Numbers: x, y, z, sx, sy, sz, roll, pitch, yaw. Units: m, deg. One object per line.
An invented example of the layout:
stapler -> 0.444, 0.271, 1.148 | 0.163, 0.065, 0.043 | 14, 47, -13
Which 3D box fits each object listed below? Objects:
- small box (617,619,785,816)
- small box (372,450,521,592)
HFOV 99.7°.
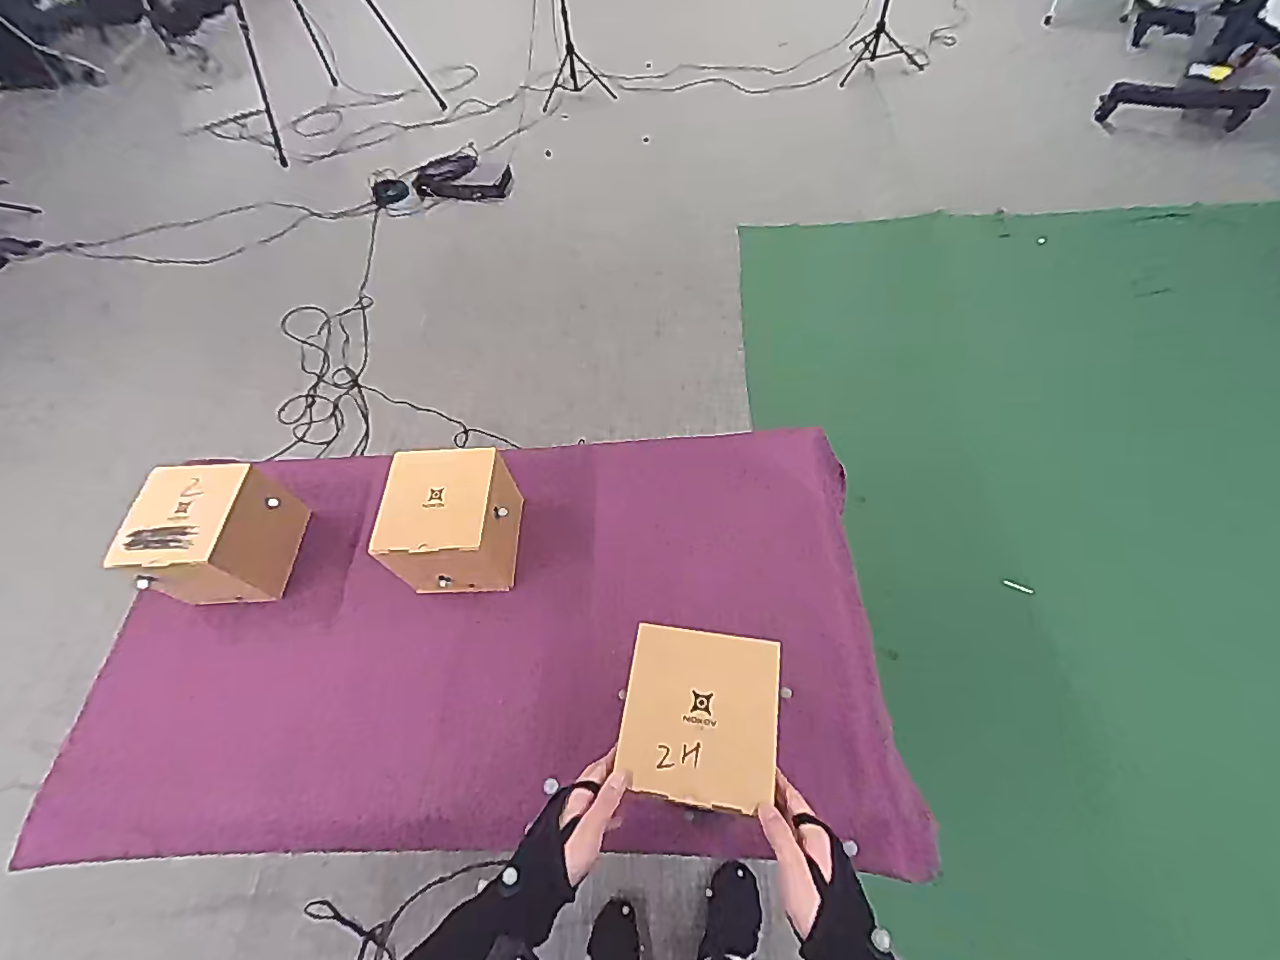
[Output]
small box -> 0.077, 0.288, 0.651 | 0.168, 0.176, 0.179 | 5, 59, 11
small box -> -0.297, 0.069, 0.875 | 0.168, 0.176, 0.179 | -2, 59, 3
